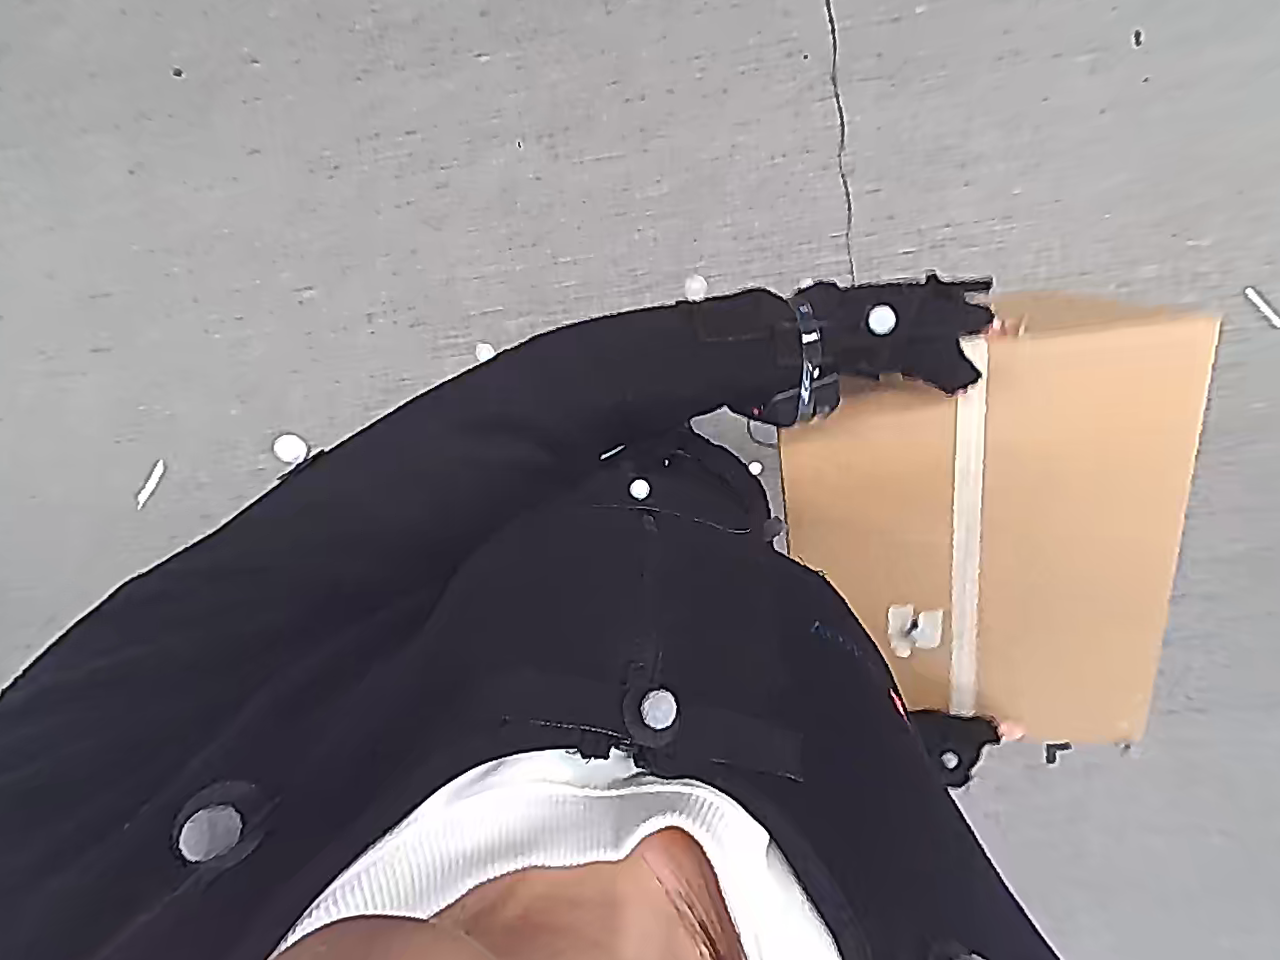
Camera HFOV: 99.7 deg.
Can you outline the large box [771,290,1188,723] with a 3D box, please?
[{"bbox_3d":[0.334,0.014,0.646,0.320,0.320,0.408,-3,112,17],"label":"large box"}]
